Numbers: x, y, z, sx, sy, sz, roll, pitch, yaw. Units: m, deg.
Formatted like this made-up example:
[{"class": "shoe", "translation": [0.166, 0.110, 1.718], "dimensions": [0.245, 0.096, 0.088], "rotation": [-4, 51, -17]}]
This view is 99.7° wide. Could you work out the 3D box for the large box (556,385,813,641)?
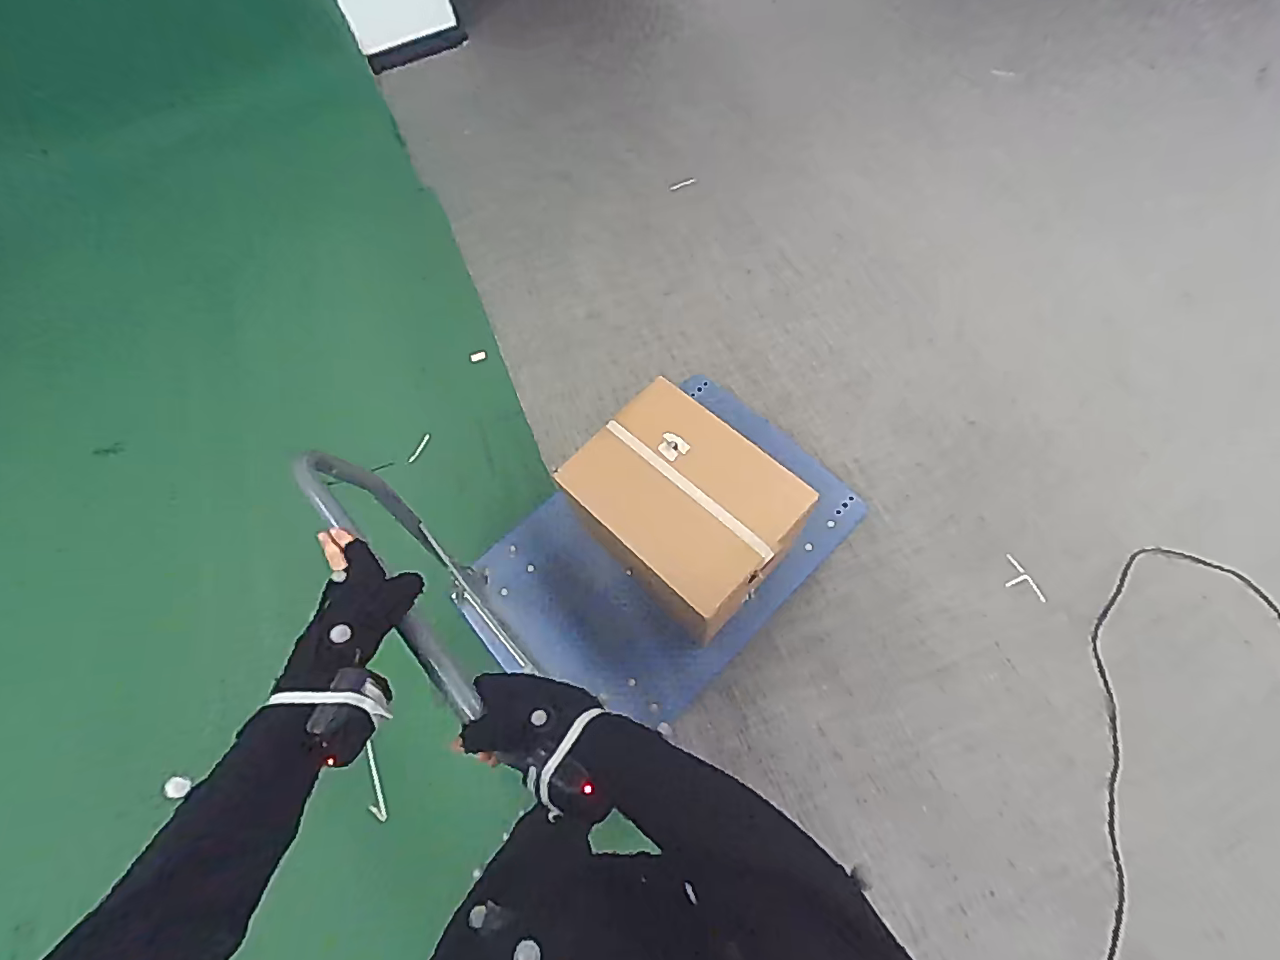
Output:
[{"class": "large box", "translation": [0.095, 0.079, 1.165], "dimensions": [0.408, 0.320, 0.320], "rotation": [40, 74, 21]}]
